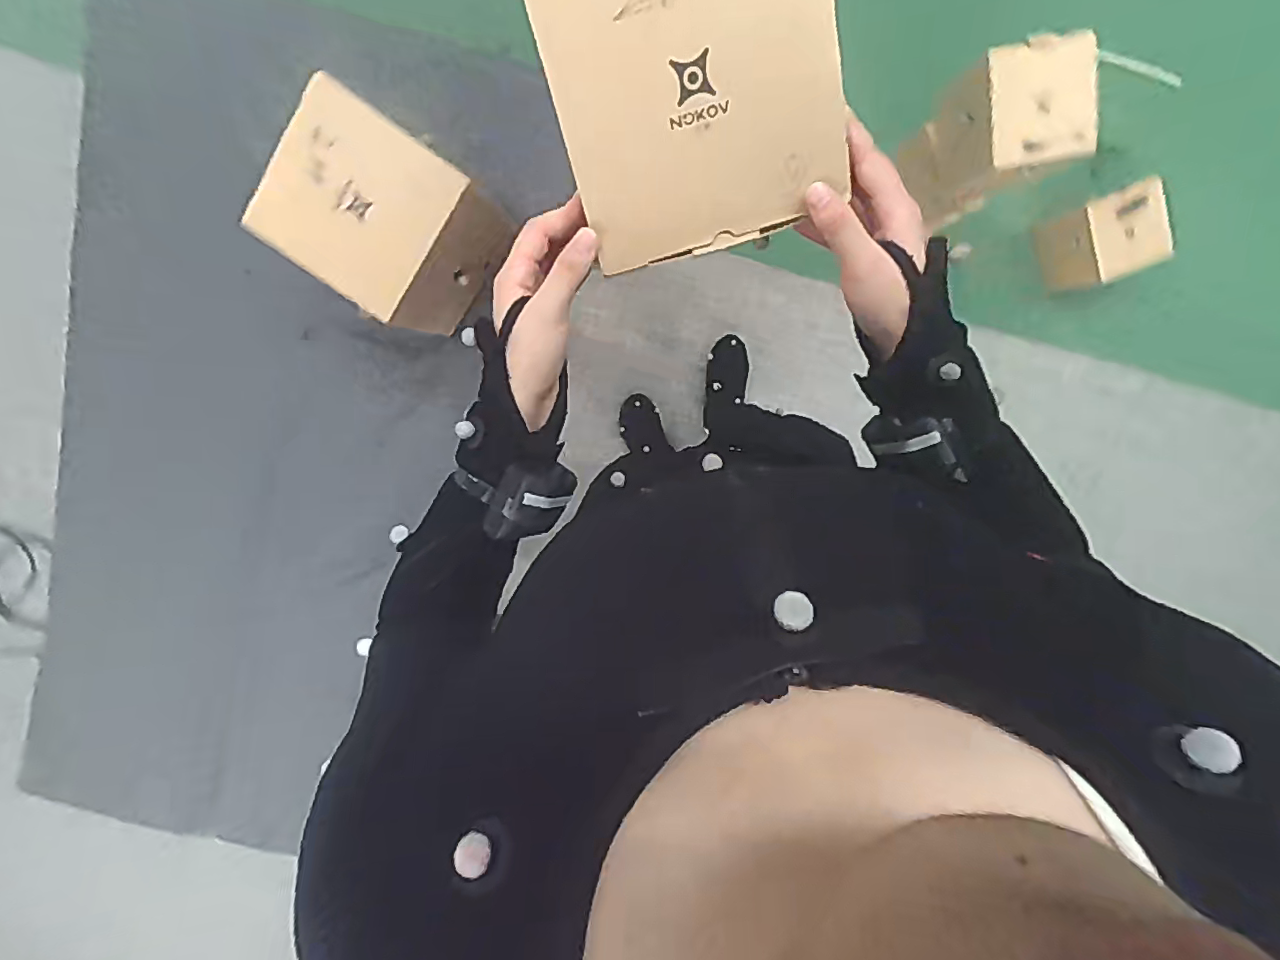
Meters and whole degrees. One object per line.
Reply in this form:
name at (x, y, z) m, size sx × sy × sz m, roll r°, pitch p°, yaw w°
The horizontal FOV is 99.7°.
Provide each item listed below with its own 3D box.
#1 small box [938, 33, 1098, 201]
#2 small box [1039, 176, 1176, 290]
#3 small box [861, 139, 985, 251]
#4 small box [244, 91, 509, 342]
small box at (0.644, -0.615, 0.939) m, size 0.168 × 0.176 × 0.179 m, roll -10°, pitch 101°, yaw 3°
small box at (1.089, -0.570, 1.274) m, size 0.168 × 0.176 × 0.179 m, roll -23°, pitch 101°, yaw 5°
small box at (0.653, -0.659, 1.266) m, size 0.168 × 0.176 × 0.179 m, roll -29°, pitch 99°, yaw 7°
small box at (-0.275, -0.270, 0.607) m, size 0.179 × 0.176 × 0.168 m, roll 35°, pitch 100°, yaw -3°
